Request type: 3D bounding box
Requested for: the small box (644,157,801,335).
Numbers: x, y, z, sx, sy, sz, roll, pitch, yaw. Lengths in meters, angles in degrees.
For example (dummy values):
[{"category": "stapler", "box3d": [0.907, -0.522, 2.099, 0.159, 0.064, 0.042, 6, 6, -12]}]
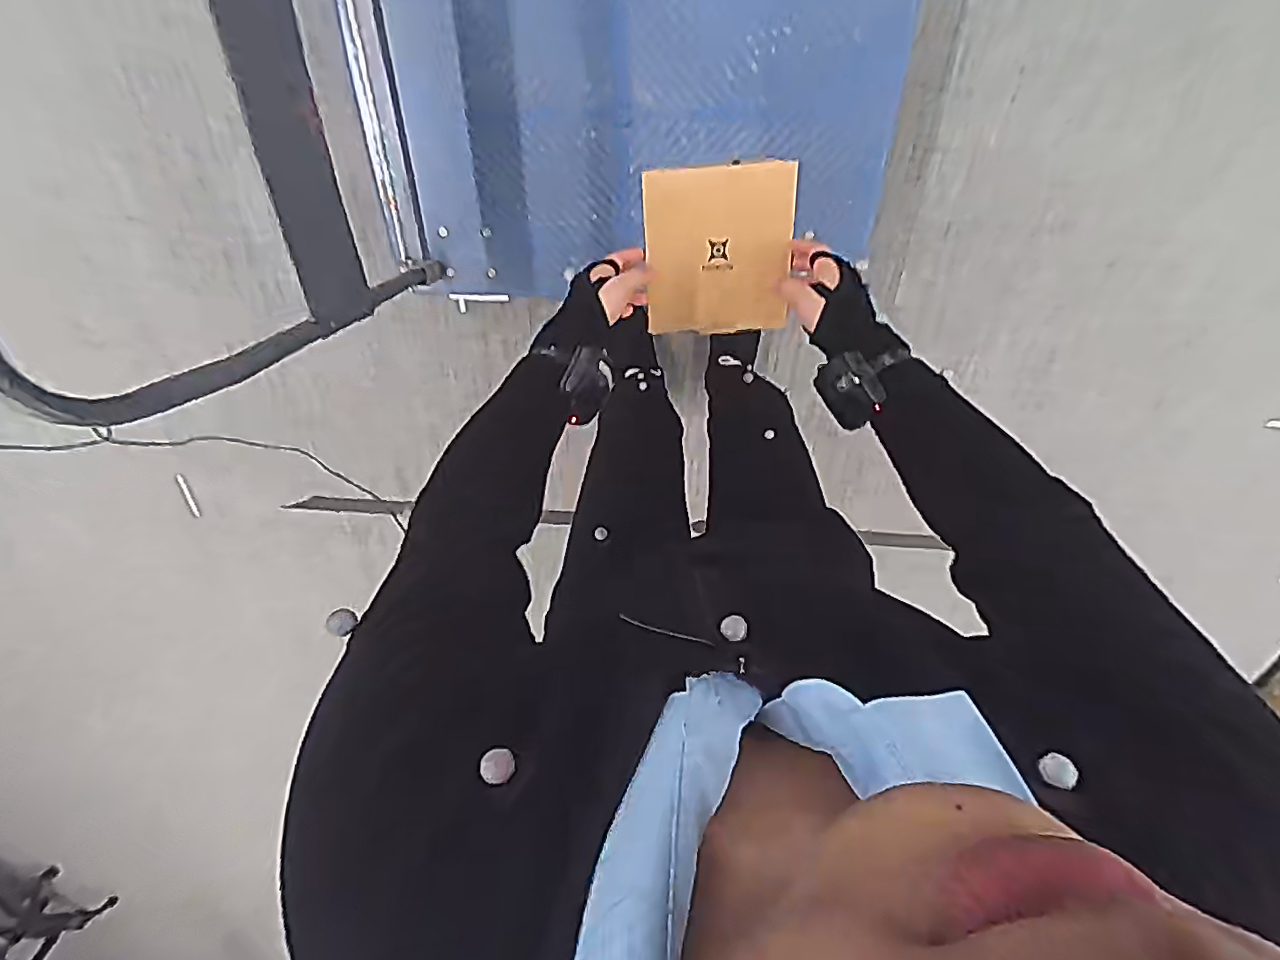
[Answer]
[{"category": "small box", "box3d": [0.092, -0.291, 0.664, 0.168, 0.176, 0.179, -1, 122, 6]}]
